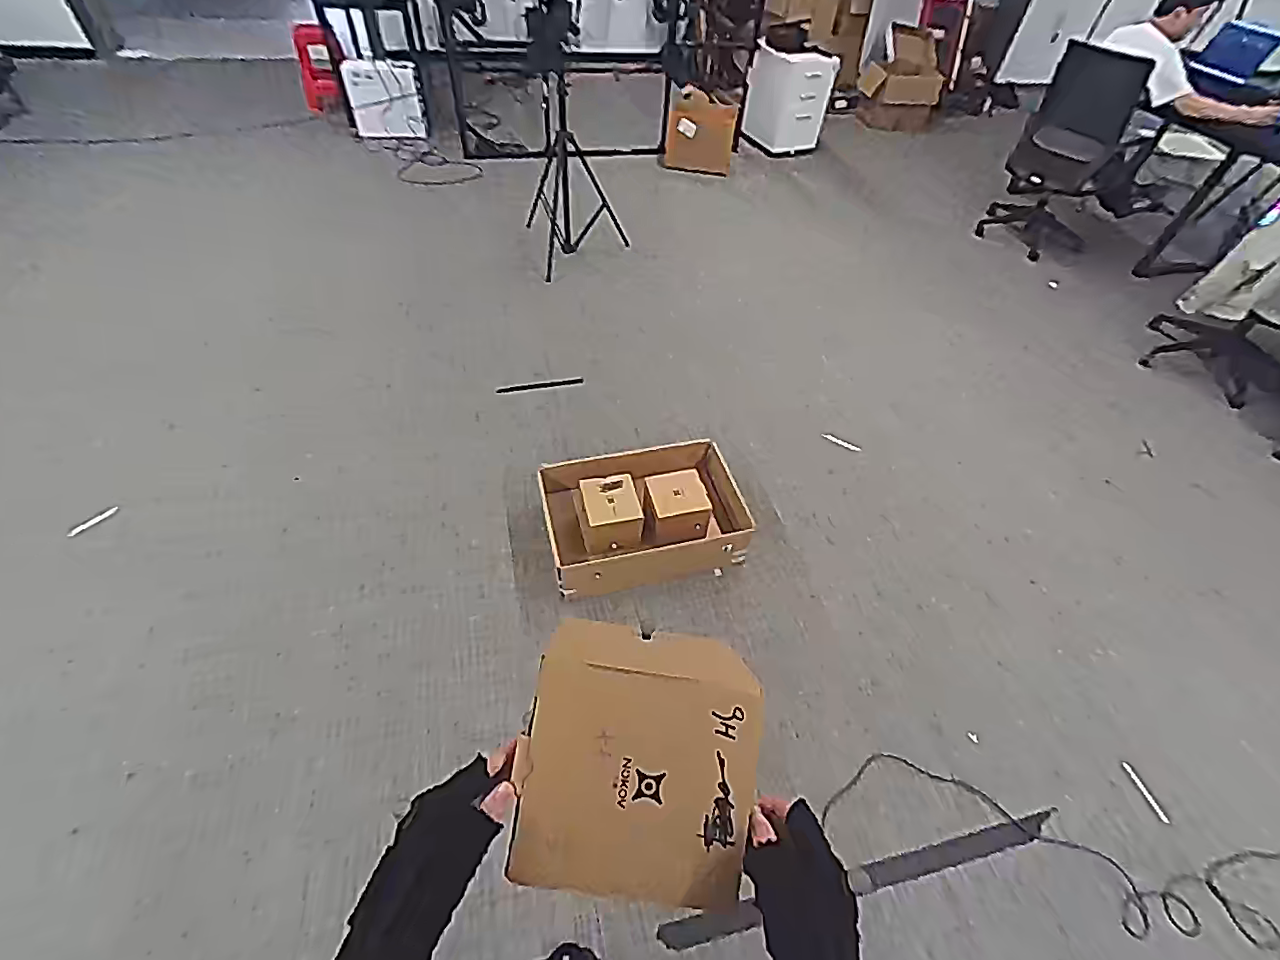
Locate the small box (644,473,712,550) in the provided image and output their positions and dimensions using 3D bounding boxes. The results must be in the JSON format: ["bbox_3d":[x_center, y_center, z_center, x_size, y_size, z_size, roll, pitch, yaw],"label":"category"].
[{"bbox_3d":[0.116,0.104,1.747,0.179,0.176,0.168,-10,51,-11],"label":"small box"}]
